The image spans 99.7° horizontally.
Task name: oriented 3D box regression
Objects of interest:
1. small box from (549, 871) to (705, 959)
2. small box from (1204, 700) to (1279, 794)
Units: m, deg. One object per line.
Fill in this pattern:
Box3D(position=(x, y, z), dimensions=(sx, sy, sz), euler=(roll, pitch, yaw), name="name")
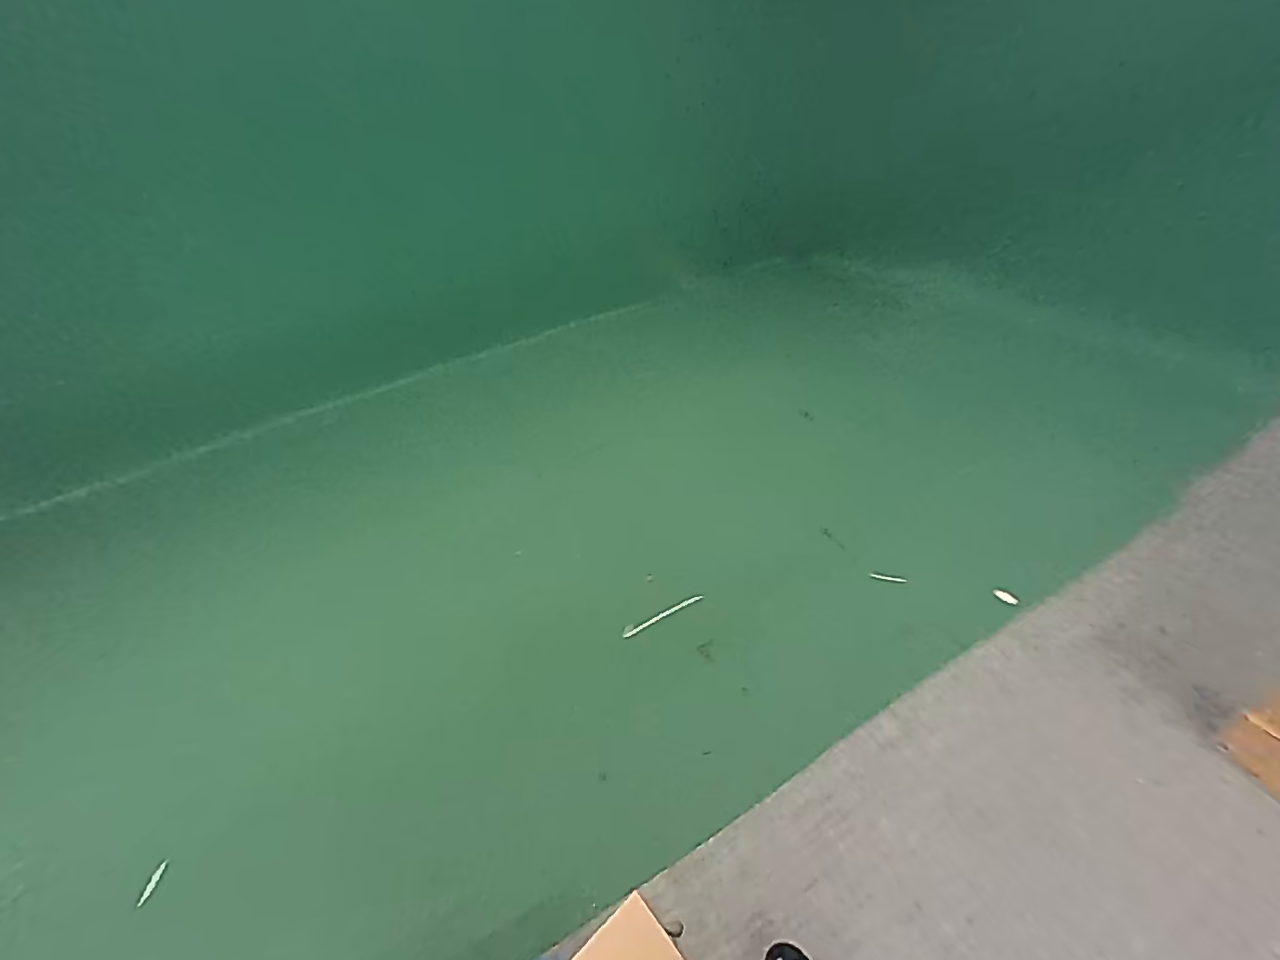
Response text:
Box3D(position=(0.005, 0.561, 0.552), dimensions=(0.168, 0.176, 0.179), euler=(-33, 44, -22), name="small box")
Box3D(position=(1.605, 0.656, 1.370), dimensions=(0.179, 0.176, 0.168), euler=(-20, 43, -15), name="small box")
